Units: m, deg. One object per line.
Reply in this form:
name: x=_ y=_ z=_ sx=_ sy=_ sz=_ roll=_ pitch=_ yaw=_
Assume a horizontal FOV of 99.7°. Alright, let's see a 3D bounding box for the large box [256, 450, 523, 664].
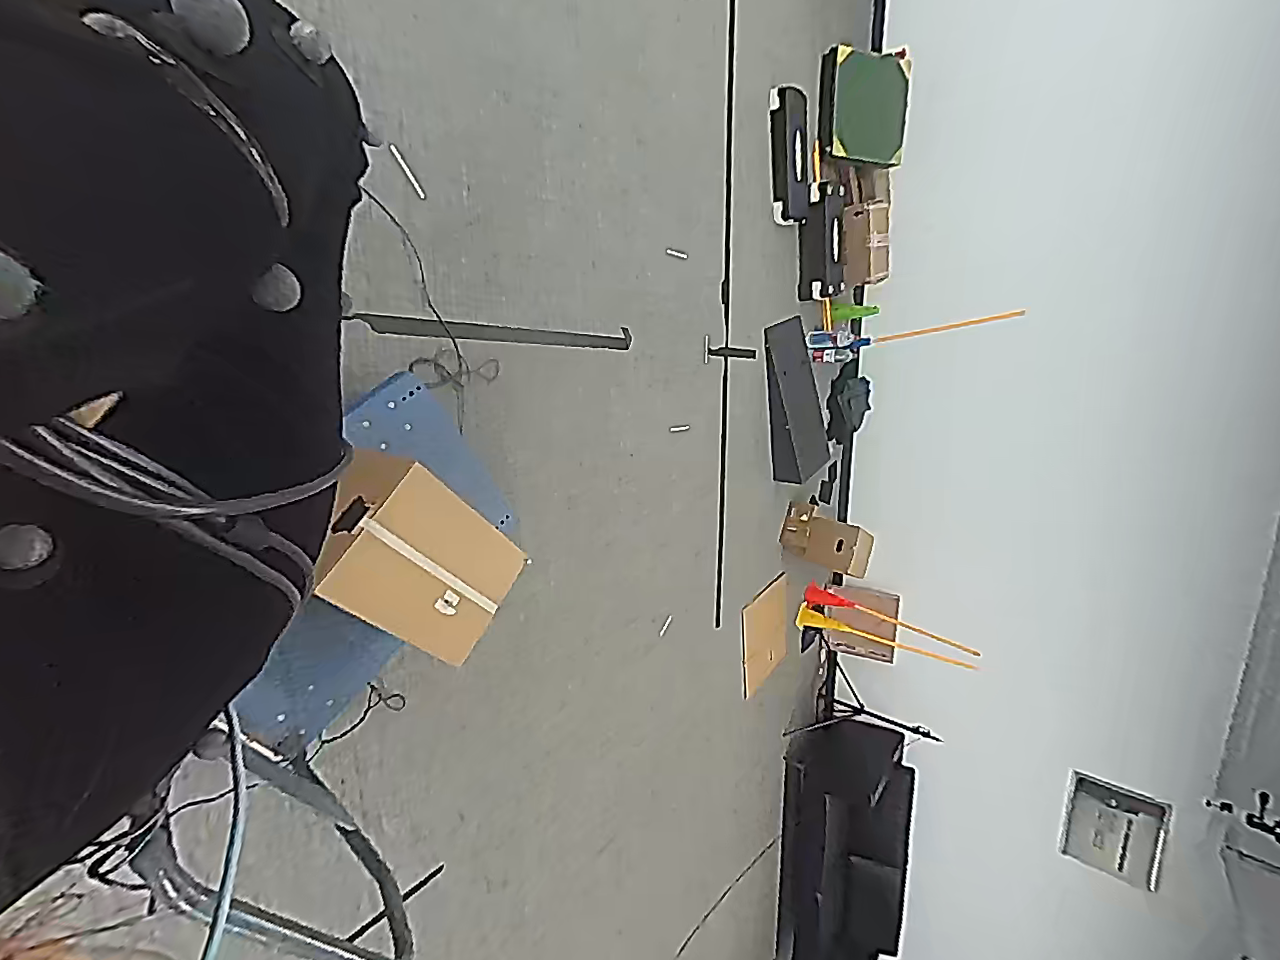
large box: x=-0.567 y=0.175 z=1.268 sx=0.320 sy=0.320 sz=0.408 roll=-60 pitch=138 yaw=-23
